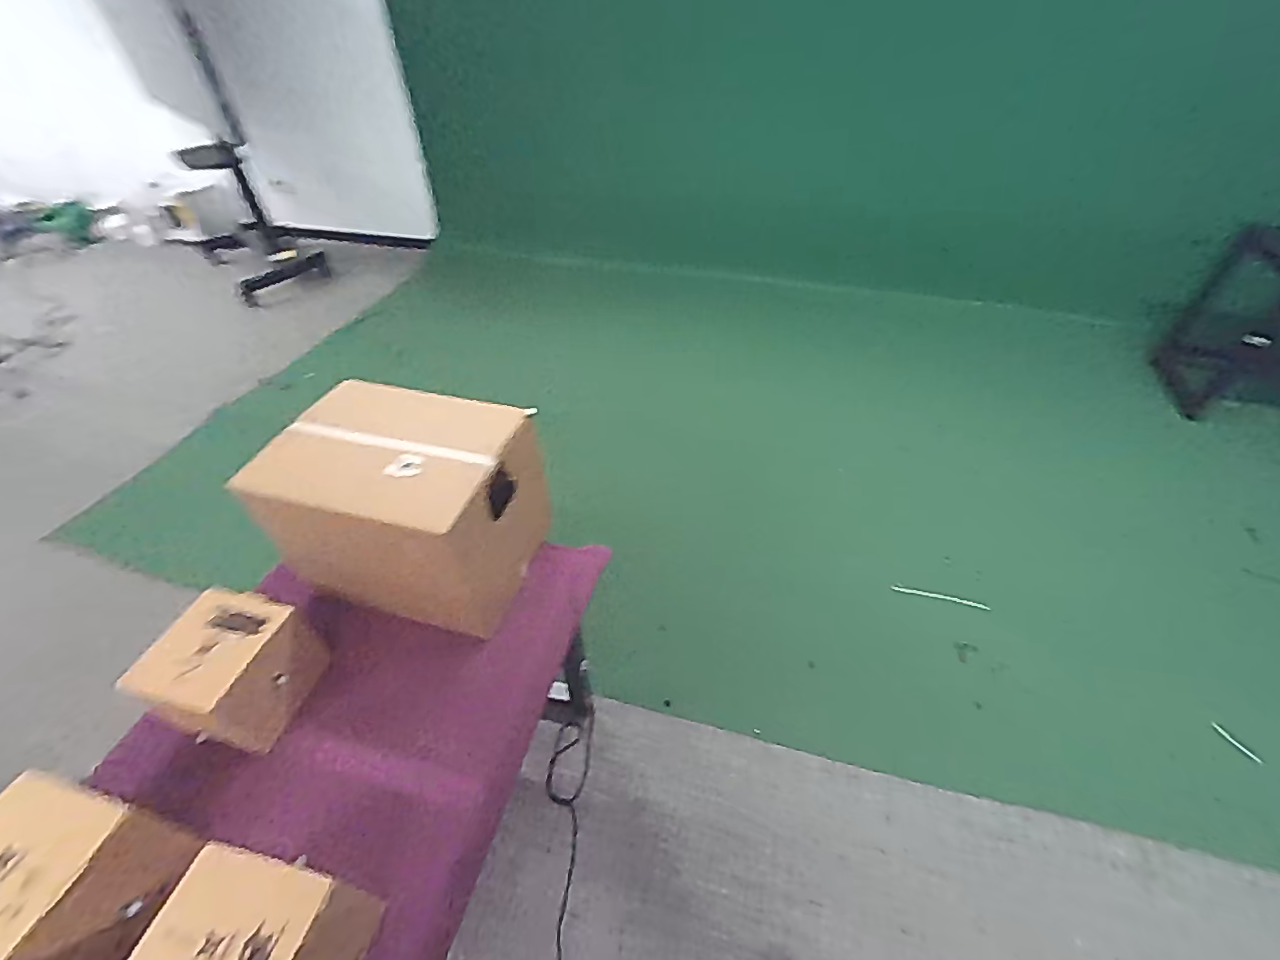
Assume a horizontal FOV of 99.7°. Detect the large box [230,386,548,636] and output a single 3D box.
[{"bbox_3d":[-0.433,0.054,1.037,0.408,0.320,0.320,11,46,11],"label":"large box"}]
